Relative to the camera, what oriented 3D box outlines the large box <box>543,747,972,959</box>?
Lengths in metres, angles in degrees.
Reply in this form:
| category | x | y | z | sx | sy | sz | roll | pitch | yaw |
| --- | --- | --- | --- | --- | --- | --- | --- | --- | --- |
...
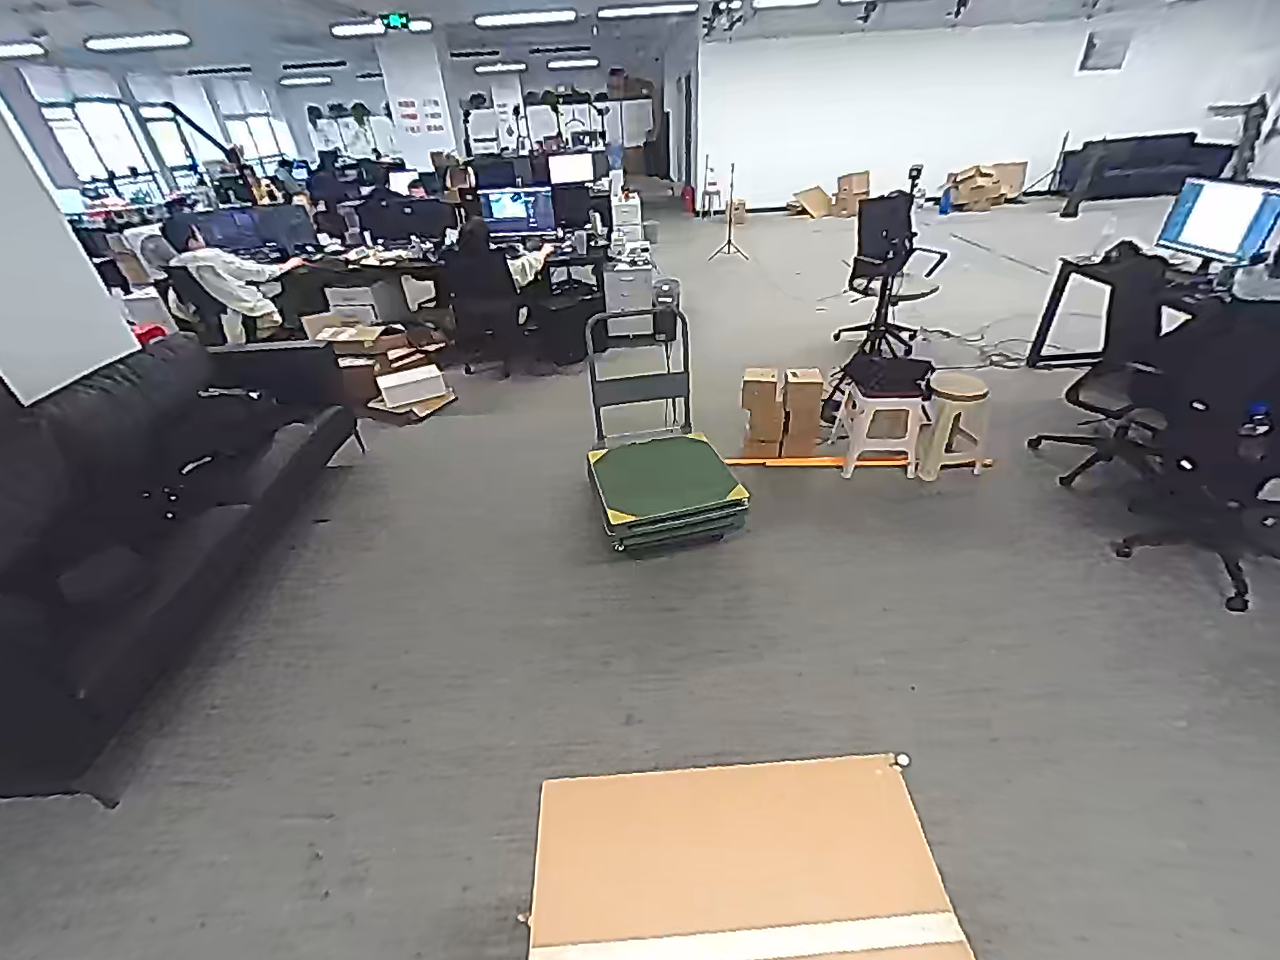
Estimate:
| category | x | y | z | sx | sy | sz | roll | pitch | yaw |
| --- | --- | --- | --- | --- | --- | --- | --- | --- | --- |
| large box | 0.110 | 0.543 | 0.616 | 0.408 | 0.320 | 0.320 | -5 | 44 | -1 |
